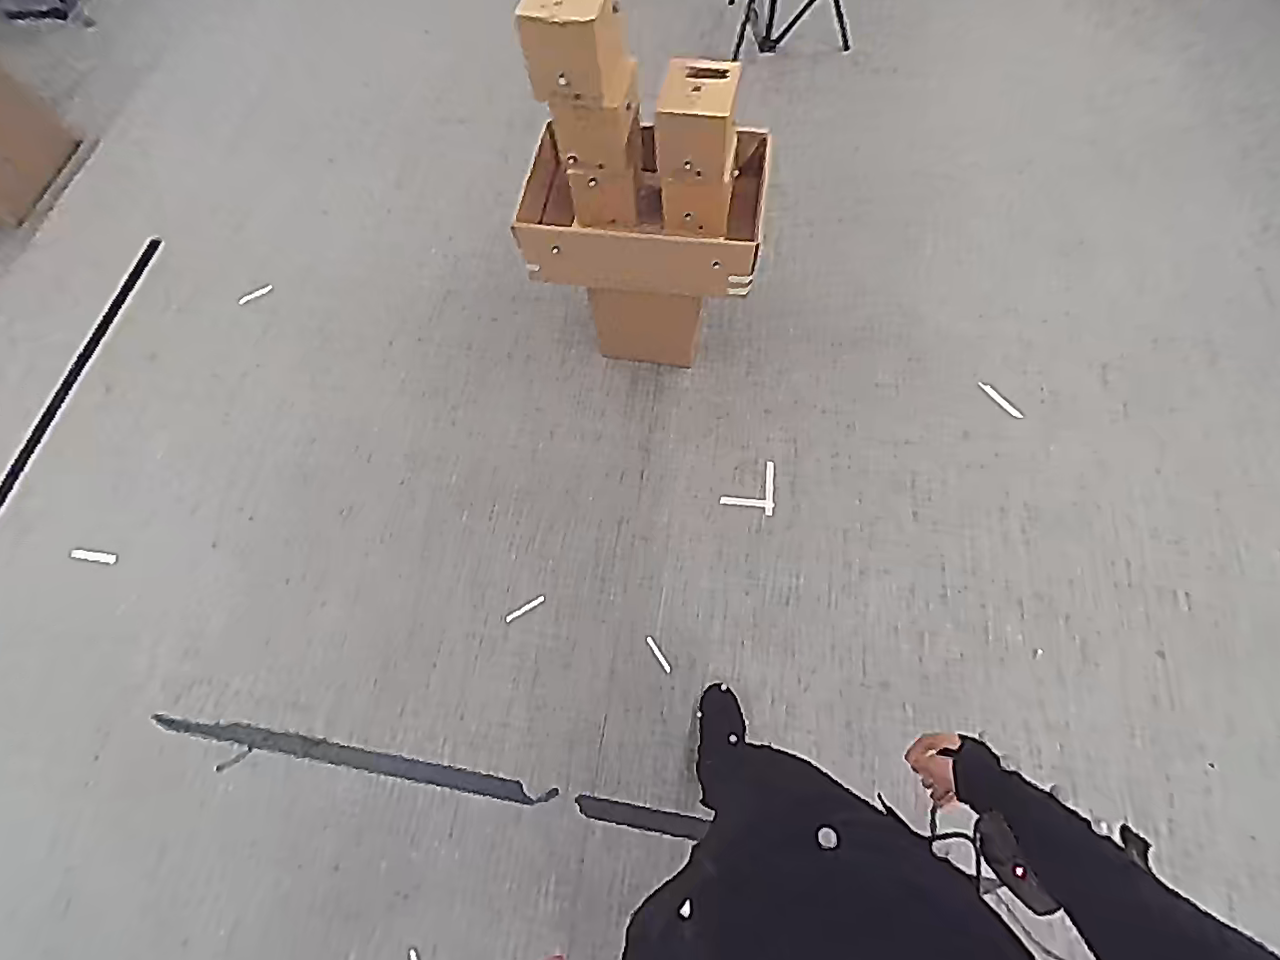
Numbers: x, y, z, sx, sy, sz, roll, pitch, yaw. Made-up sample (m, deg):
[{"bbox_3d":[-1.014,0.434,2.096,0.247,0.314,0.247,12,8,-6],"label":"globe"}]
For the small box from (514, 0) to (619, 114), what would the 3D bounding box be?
[{"bbox_3d":[-0.145,-0.921,1.142,0.168,0.176,0.179,12,70,8],"label":"small box"}]

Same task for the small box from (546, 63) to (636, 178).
[{"bbox_3d":[-0.107,-0.858,1.292,0.168,0.176,0.179,11,69,7],"label":"small box"}]

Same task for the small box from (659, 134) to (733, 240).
[{"bbox_3d":[0.146,-0.765,1.418,0.168,0.176,0.179,8,70,8],"label":"small box"}]
